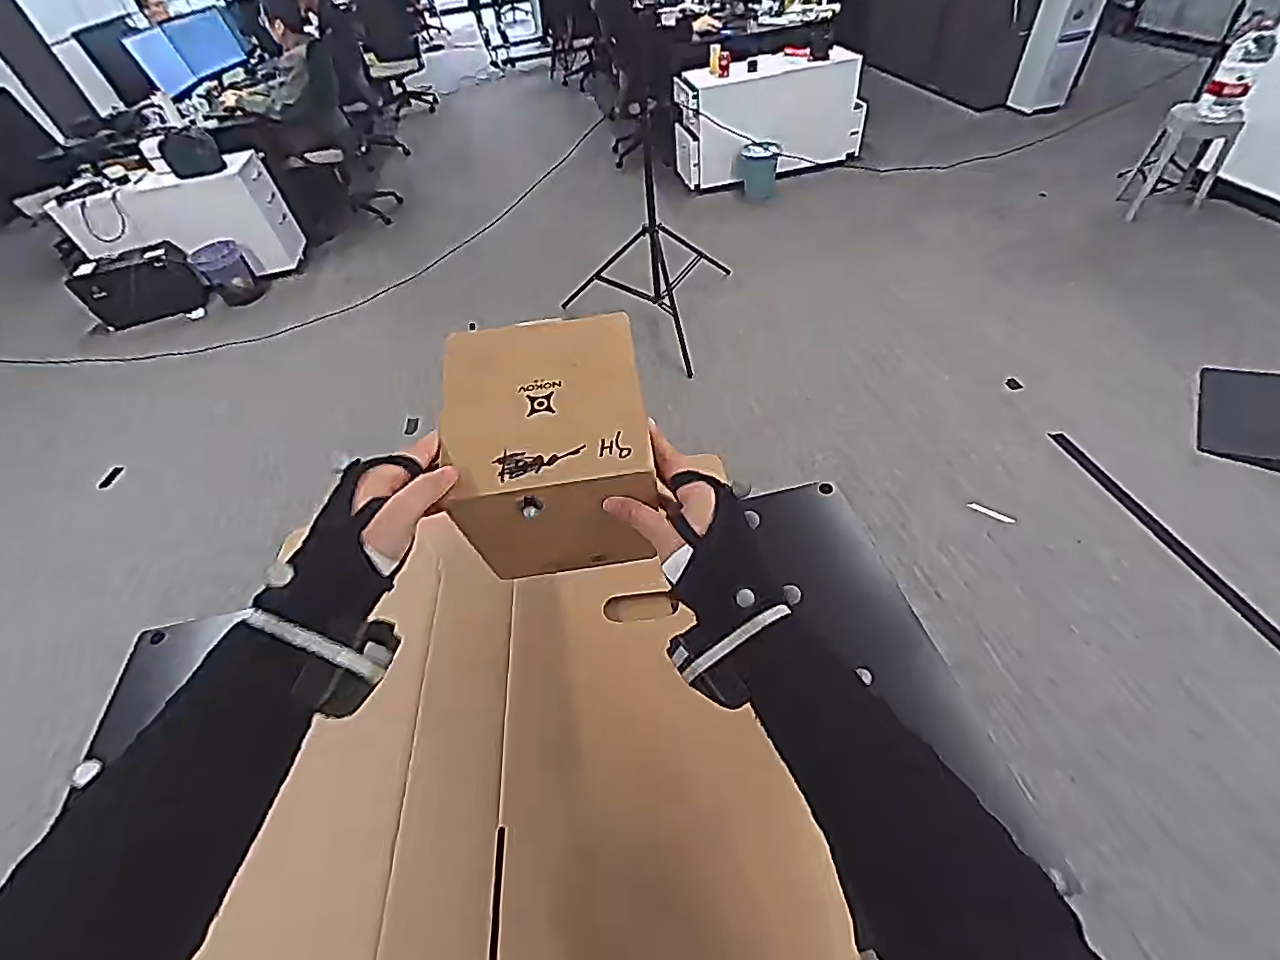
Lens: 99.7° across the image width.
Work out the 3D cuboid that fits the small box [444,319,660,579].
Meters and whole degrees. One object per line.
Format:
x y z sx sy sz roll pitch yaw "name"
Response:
-0.073 -0.025 0.521 0.168 0.176 0.179 -8 58 -1 "small box"
